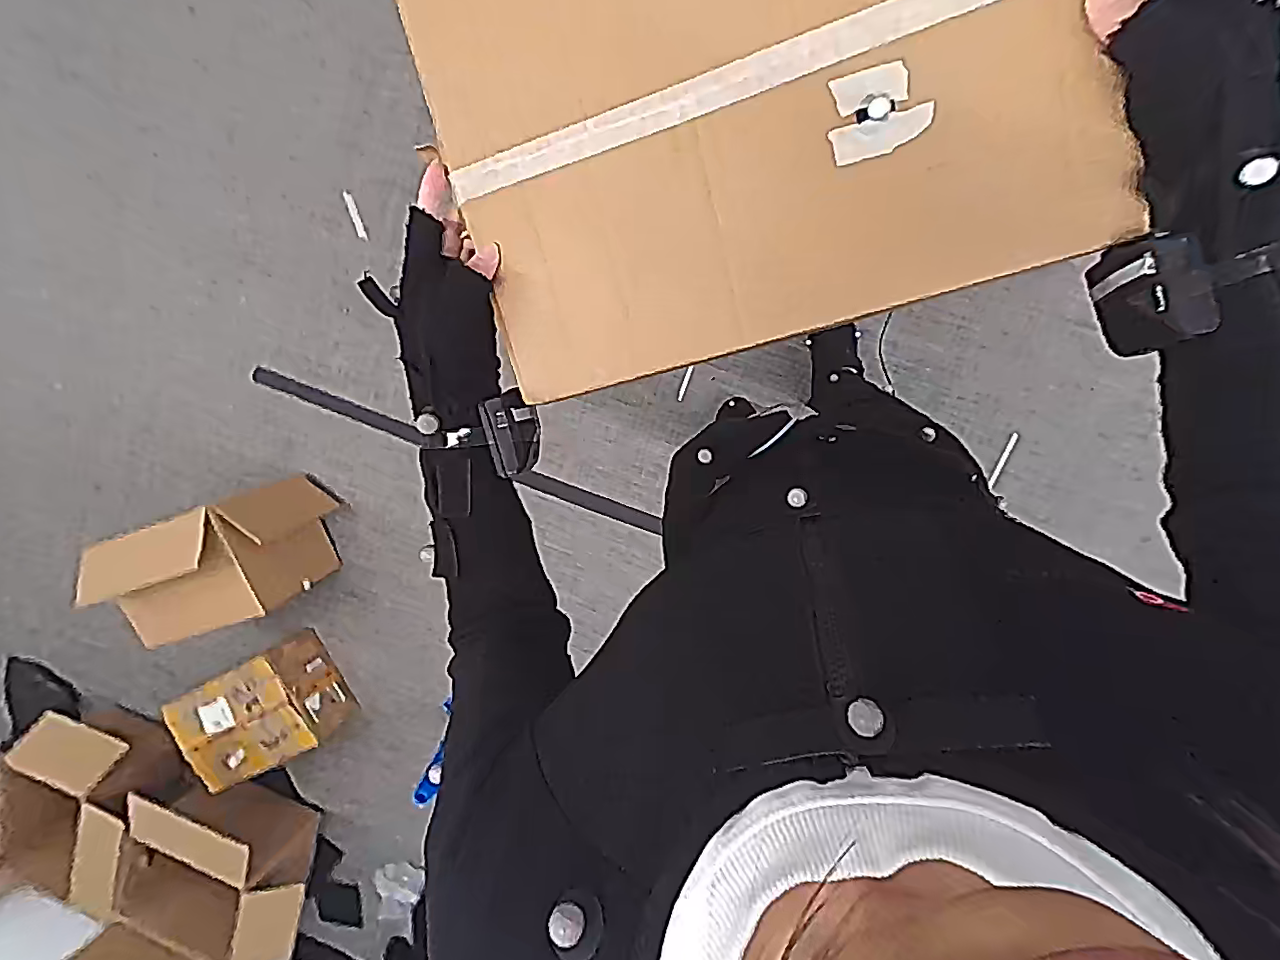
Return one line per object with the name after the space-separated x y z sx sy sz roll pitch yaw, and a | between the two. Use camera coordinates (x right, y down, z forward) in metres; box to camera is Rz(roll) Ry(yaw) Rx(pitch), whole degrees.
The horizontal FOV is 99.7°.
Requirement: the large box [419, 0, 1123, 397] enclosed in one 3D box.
0.092 -0.284 0.491 0.408 0.320 0.320 -13 101 11 | large box
